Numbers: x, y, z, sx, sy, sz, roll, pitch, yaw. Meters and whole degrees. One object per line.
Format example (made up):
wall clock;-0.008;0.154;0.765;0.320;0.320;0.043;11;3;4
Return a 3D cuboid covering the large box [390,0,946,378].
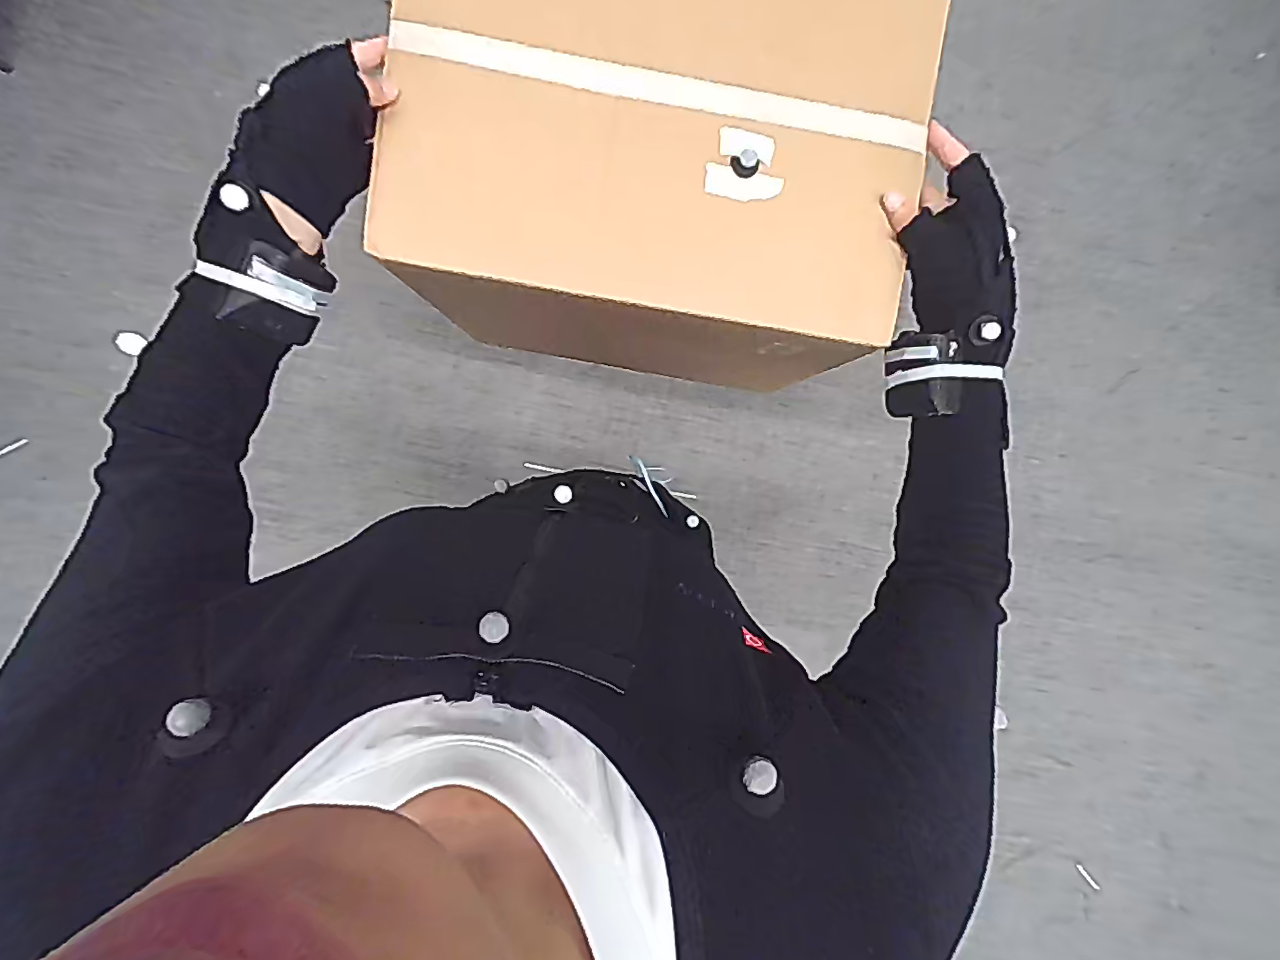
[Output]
large box;0.018;-0.306;0.561;0.408;0.320;0.320;9;93;-3
